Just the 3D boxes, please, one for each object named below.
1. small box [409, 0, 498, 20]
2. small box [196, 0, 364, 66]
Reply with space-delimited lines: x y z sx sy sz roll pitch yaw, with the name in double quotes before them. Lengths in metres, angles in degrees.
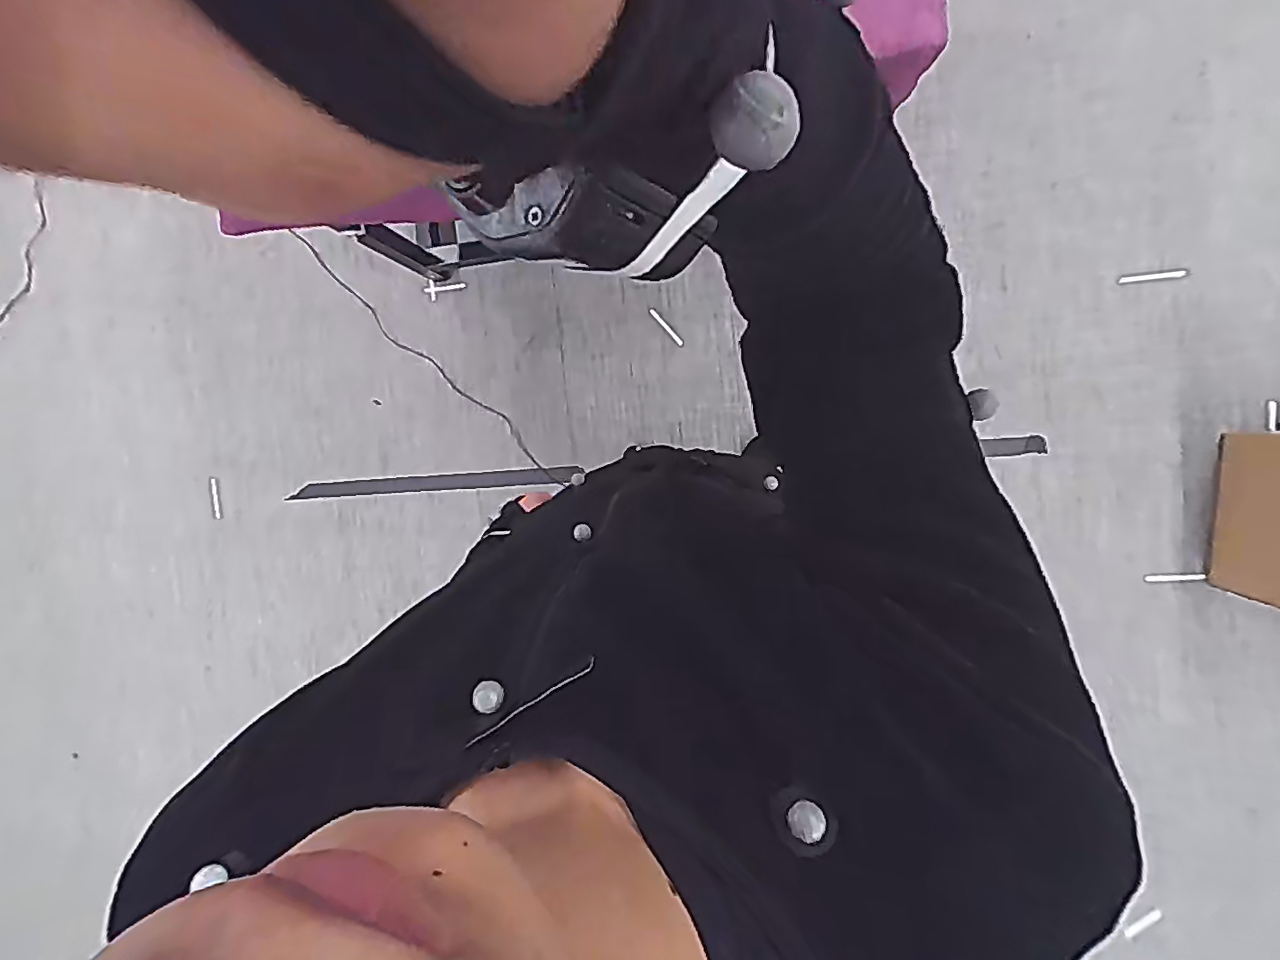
"small box" -0.307 -0.833 0.782 0.168 0.176 0.179 -9 94 9
"small box" -0.555 -0.779 0.822 0.168 0.176 0.179 -13 92 9
